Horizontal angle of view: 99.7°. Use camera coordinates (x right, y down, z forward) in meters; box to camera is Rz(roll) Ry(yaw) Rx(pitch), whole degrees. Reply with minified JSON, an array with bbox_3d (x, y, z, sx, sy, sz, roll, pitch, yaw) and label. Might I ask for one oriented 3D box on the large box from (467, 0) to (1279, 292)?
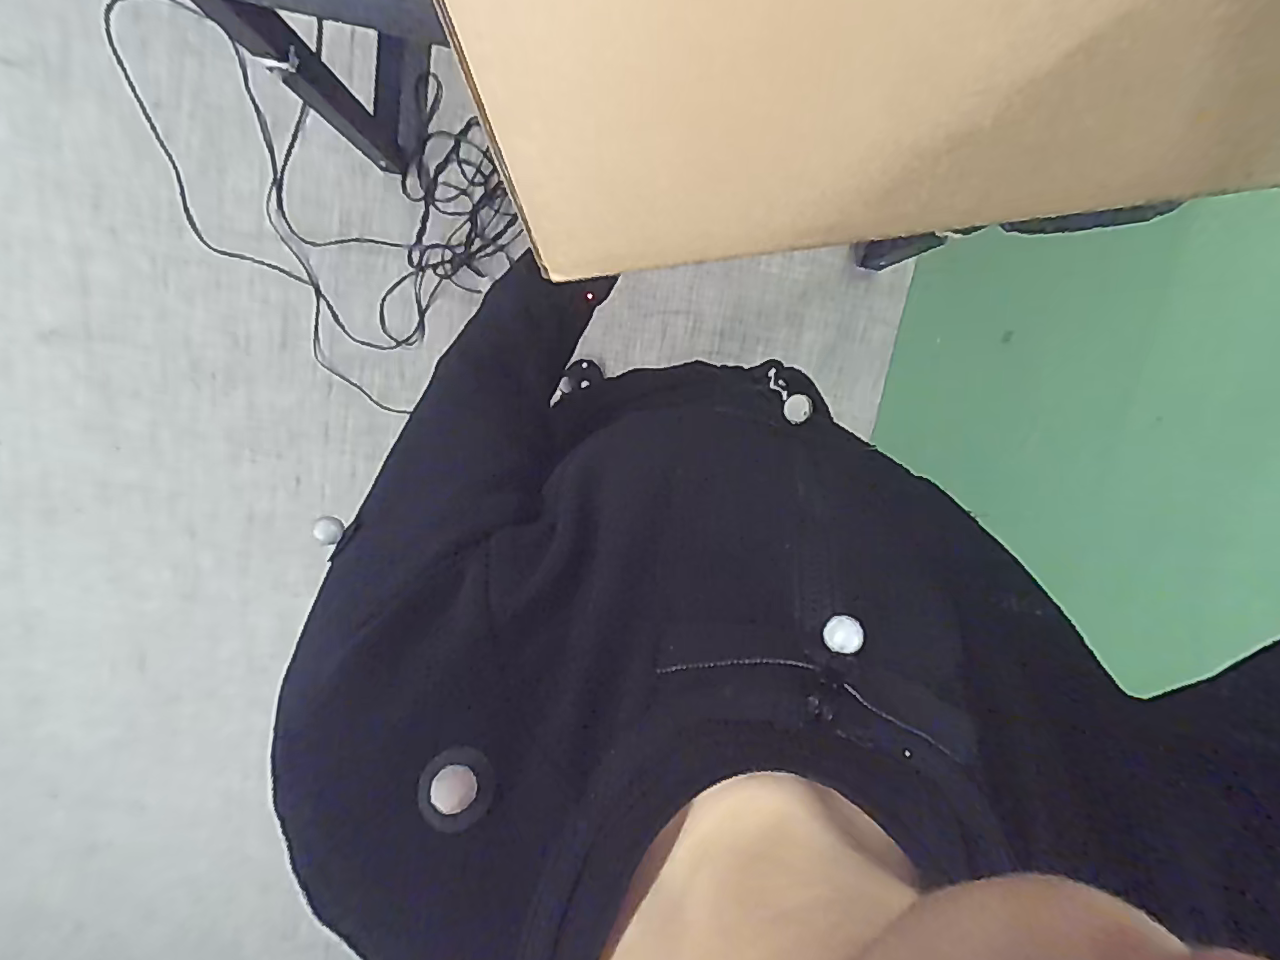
[{"bbox_3d":[0.138,-0.330,0.256,0.408,0.320,0.320,-3,136,18],"label":"large box"}]
